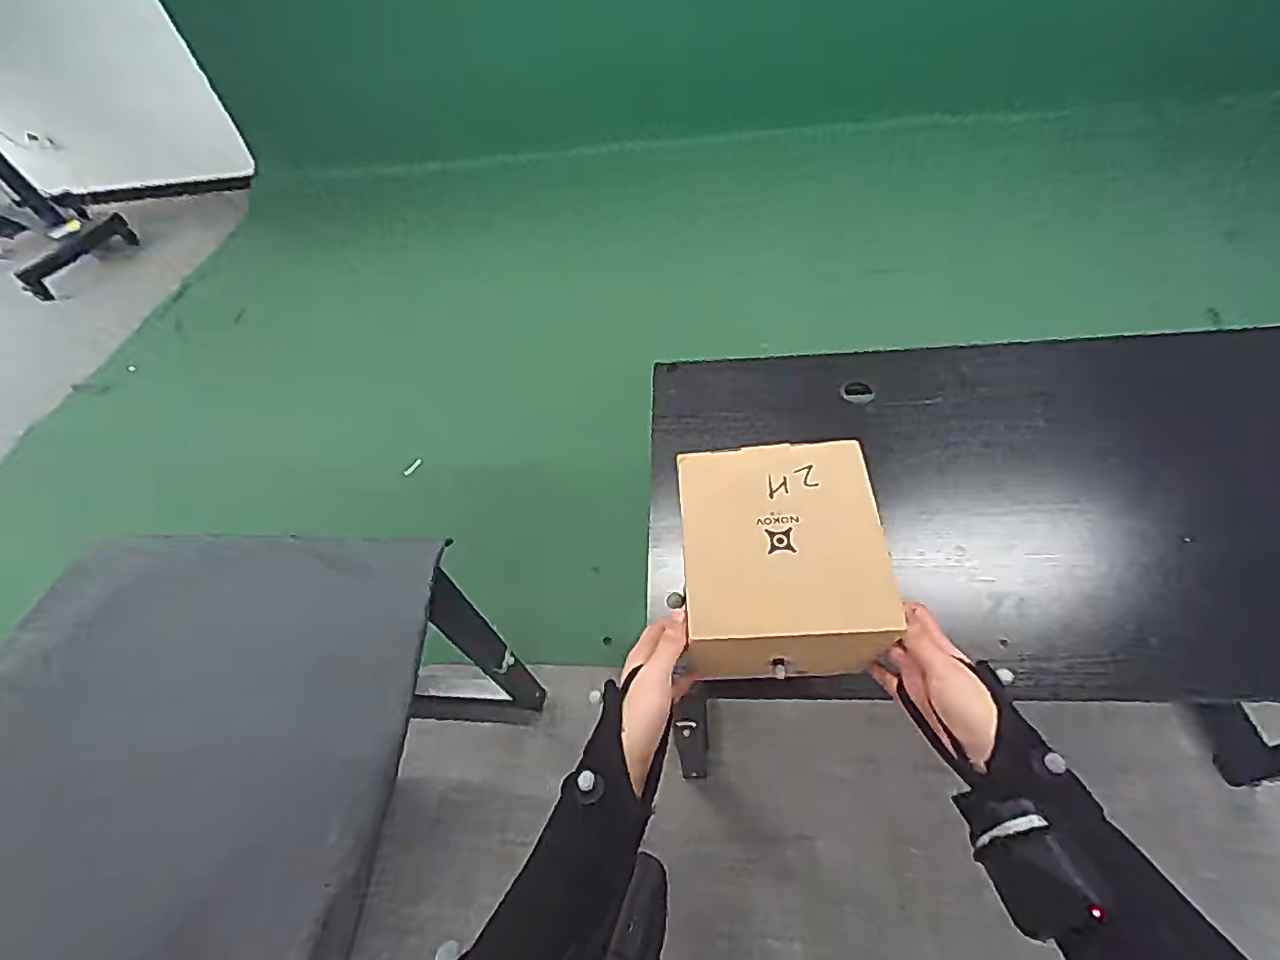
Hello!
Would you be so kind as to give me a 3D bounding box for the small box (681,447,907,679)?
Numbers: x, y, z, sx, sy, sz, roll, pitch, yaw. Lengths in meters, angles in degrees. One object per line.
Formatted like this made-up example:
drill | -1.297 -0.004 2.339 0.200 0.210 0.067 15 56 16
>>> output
small box | 0.131 0.090 0.523 0.168 0.176 0.179 -5 59 5
